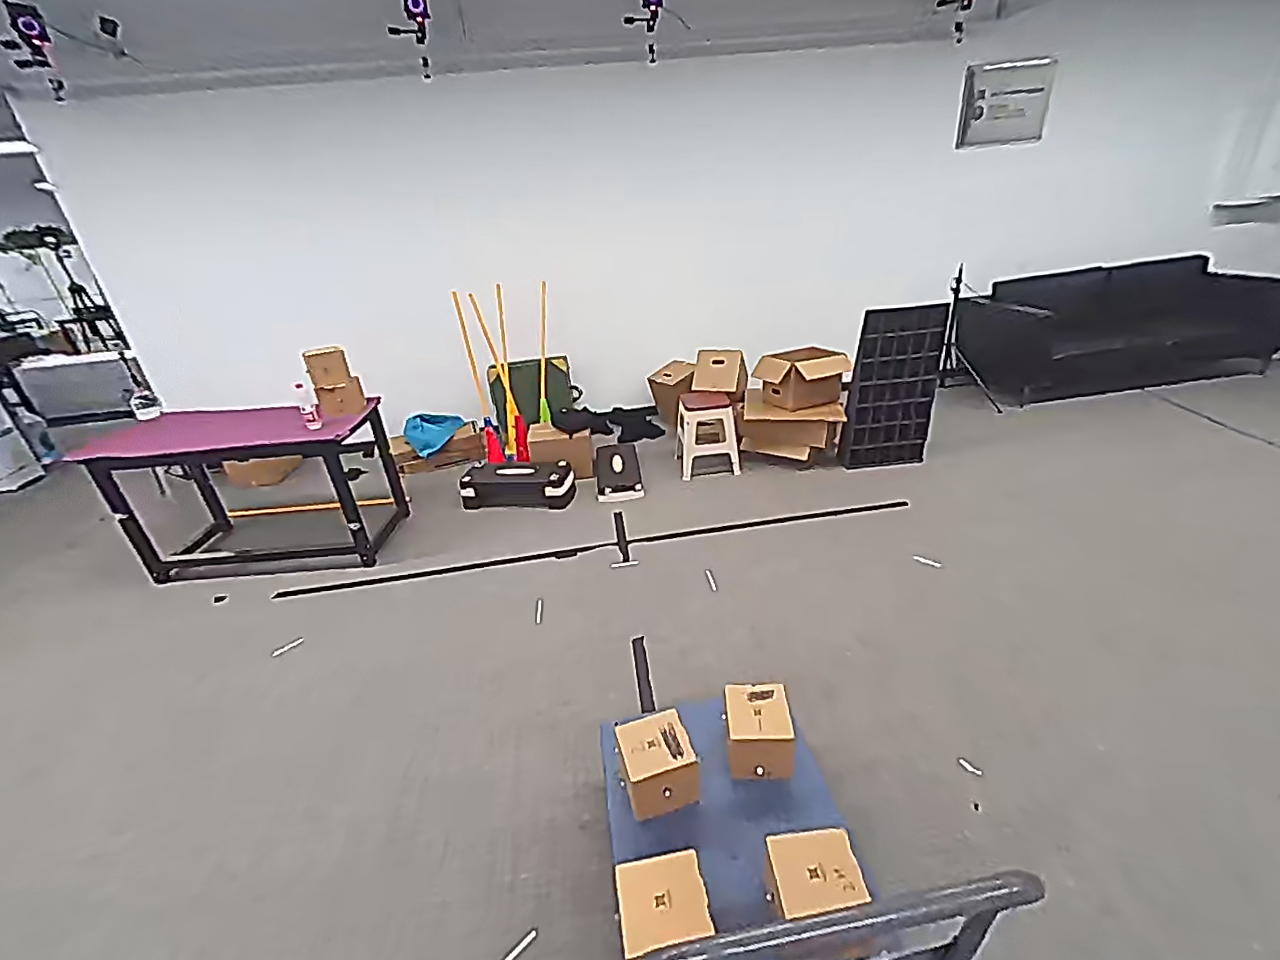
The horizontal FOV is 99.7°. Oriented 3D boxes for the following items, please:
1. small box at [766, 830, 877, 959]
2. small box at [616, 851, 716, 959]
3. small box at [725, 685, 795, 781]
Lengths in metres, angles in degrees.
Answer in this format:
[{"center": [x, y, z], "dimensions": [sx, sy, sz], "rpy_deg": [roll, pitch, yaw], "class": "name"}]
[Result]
[{"center": [0.368, 0.870, 1.127], "dimensions": [0.179, 0.176, 0.168], "rpy_deg": [-6, 27, -1], "class": "small box"}, {"center": [0.053, 0.910, 1.107], "dimensions": [0.179, 0.176, 0.168], "rpy_deg": [-7, 27, -7], "class": "small box"}, {"center": [0.323, 0.691, 1.484], "dimensions": [0.168, 0.176, 0.179], "rpy_deg": [-3, 28, 5], "class": "small box"}]
